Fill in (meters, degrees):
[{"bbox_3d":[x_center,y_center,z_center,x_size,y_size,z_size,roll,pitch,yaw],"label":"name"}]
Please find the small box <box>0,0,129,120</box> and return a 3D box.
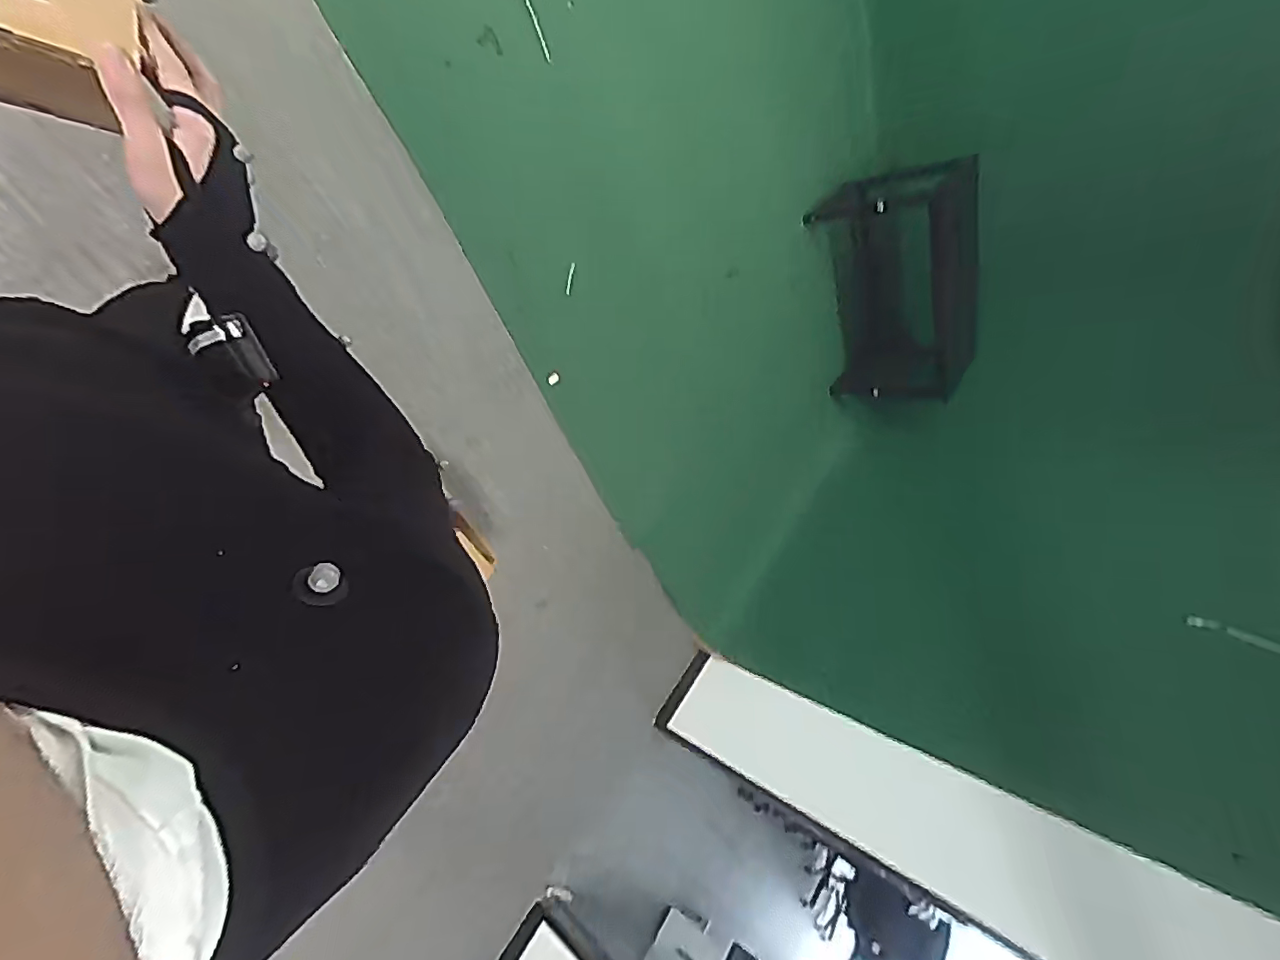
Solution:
[{"bbox_3d":[-0.462,-0.382,0.364,0.168,0.176,0.179,-5,105,-44],"label":"small box"}]
